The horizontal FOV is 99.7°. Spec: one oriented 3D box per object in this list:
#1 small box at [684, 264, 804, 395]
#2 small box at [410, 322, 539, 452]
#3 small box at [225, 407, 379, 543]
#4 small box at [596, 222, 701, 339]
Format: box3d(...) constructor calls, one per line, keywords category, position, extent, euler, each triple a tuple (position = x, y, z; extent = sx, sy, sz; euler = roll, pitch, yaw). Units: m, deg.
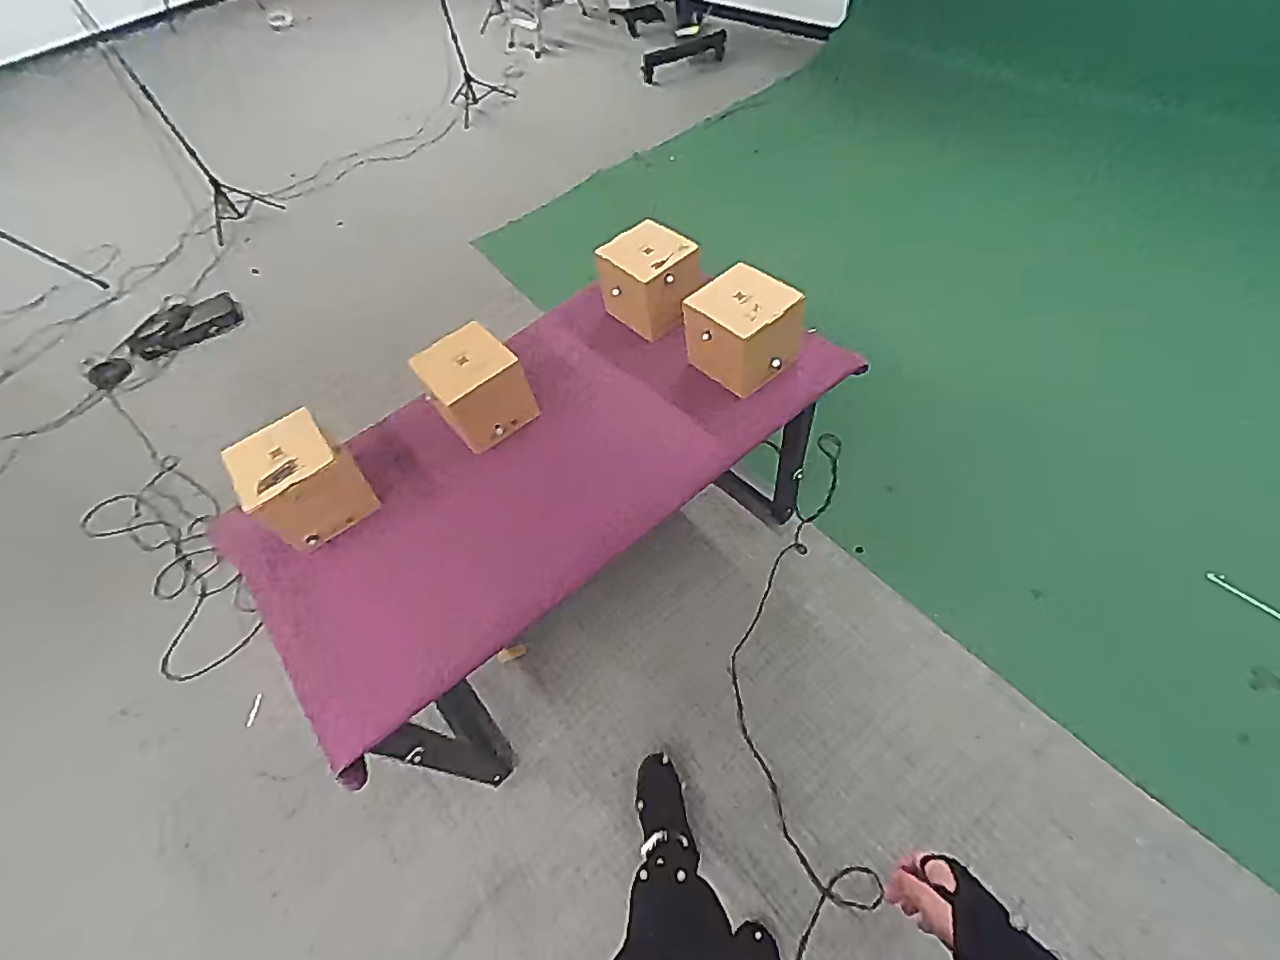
box3d(category="small box", position=(0.213, -0.309, 1.125), extent=(0.168, 0.176, 0.179), euler=(-37, 58, -15))
box3d(category="small box", position=(-0.340, -0.191, 1.133), extent=(0.168, 0.176, 0.179), euler=(-38, 60, -16))
box3d(category="small box", position=(-0.641, 0.000, 1.042), extent=(0.168, 0.176, 0.179), euler=(-35, 59, -16))
box3d(category="small box", position=(0.025, -0.462, 1.261), extent=(0.168, 0.176, 0.179), euler=(-39, 59, -16))
